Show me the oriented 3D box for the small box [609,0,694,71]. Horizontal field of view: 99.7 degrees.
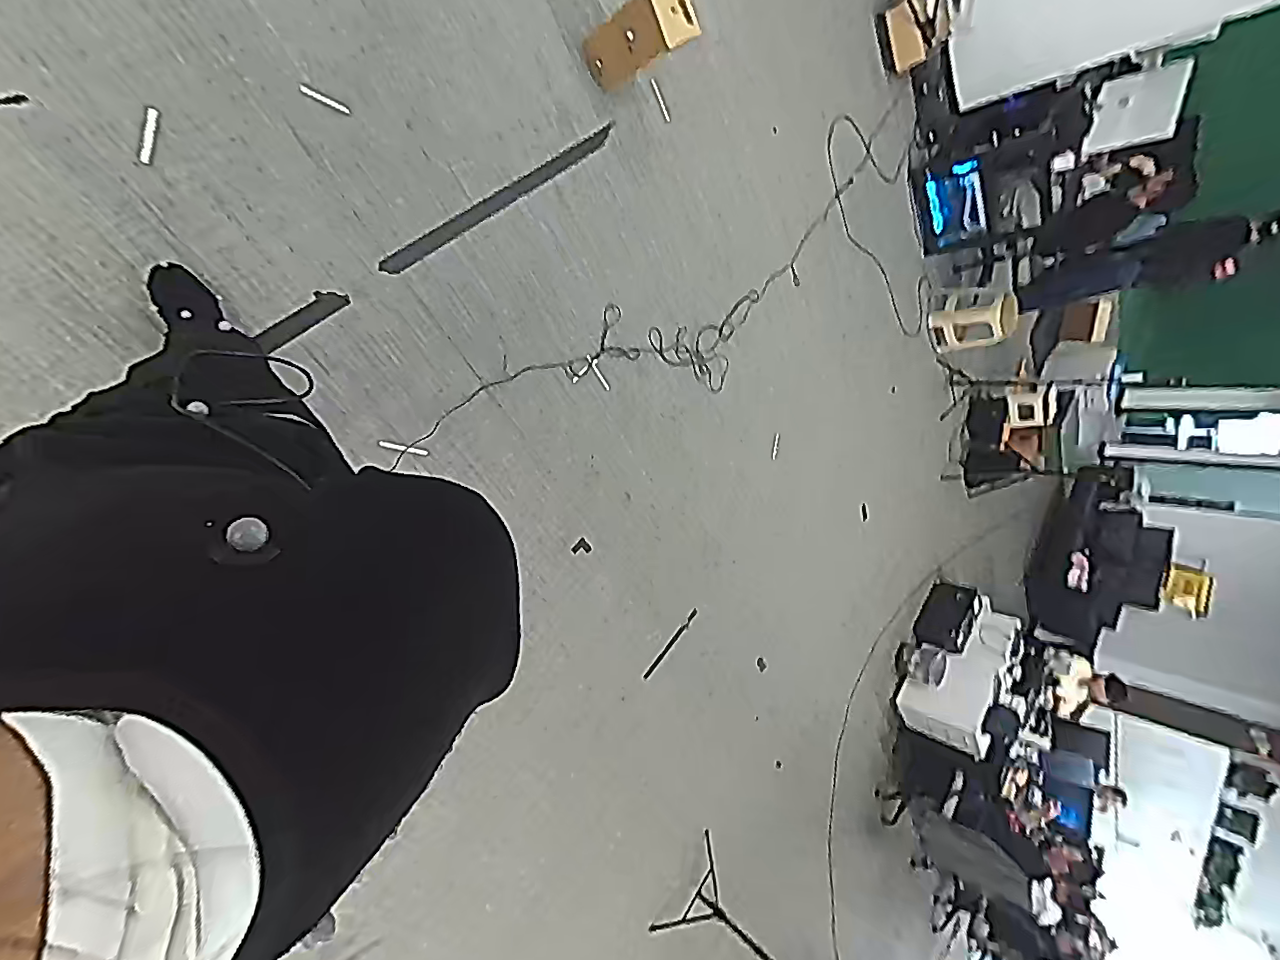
[{"bbox_3d":[0.034,-1.441,1.705,0.179,0.176,0.168,-47,123,-26],"label":"small box"}]
